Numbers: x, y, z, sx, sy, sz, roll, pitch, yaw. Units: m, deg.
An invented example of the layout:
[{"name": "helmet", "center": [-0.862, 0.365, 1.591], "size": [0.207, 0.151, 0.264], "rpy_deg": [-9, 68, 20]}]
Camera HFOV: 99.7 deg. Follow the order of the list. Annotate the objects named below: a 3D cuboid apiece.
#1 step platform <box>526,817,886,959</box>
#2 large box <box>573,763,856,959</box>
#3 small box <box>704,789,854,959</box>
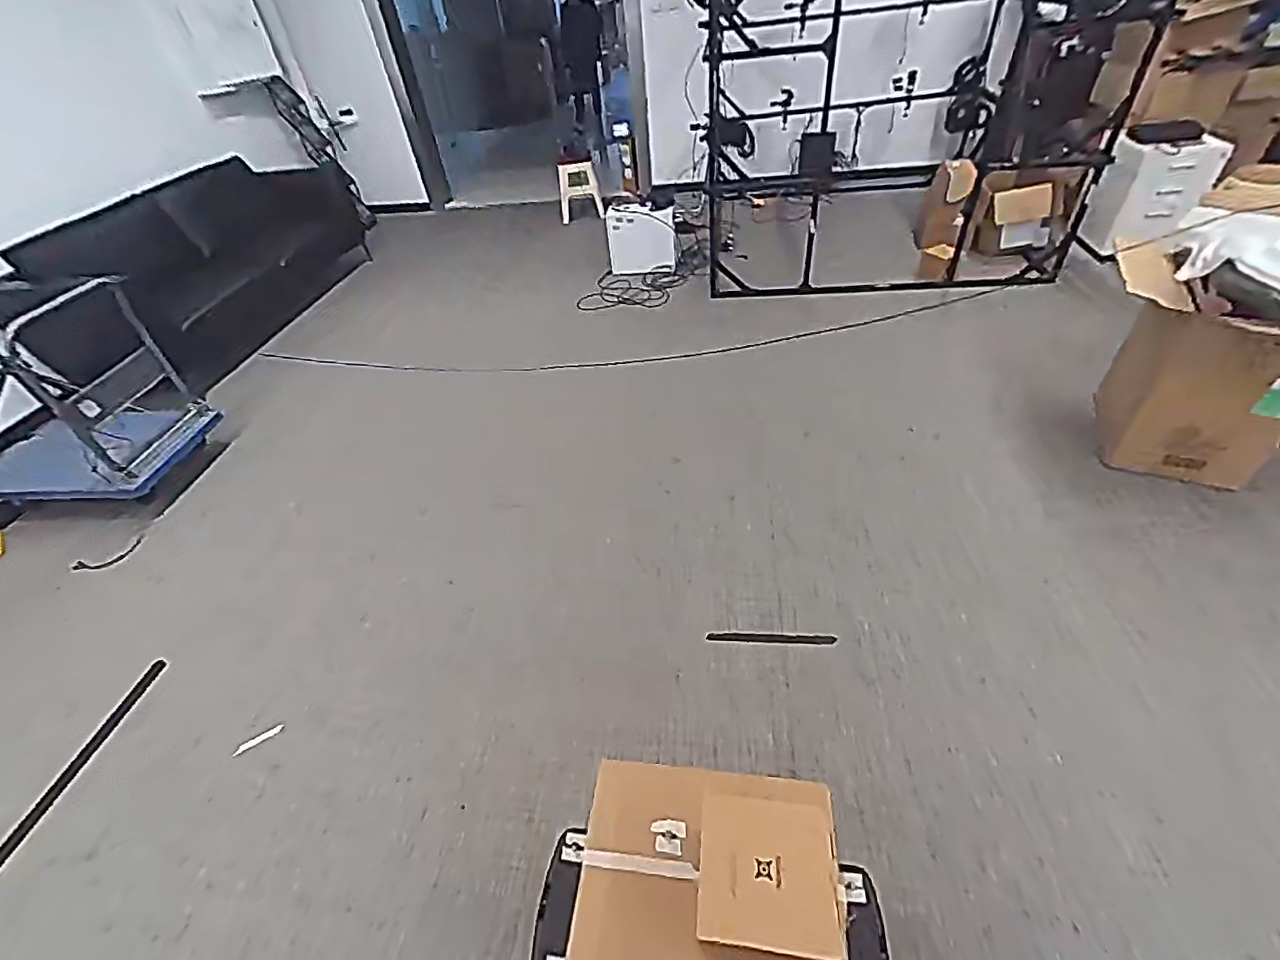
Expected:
[{"name": "step platform", "center": [0.125, 0.916, 1.081], "size": [0.684, 0.204, 0.286], "rpy_deg": [4, 44, 14]}, {"name": "large box", "center": [0.132, 0.724, 0.936], "size": [0.408, 0.320, 0.320], "rpy_deg": [0, 42, 11]}, {"name": "small box", "center": [0.183, 0.554, 0.748], "size": [0.179, 0.176, 0.168], "rpy_deg": [1, 44, 11]}]
